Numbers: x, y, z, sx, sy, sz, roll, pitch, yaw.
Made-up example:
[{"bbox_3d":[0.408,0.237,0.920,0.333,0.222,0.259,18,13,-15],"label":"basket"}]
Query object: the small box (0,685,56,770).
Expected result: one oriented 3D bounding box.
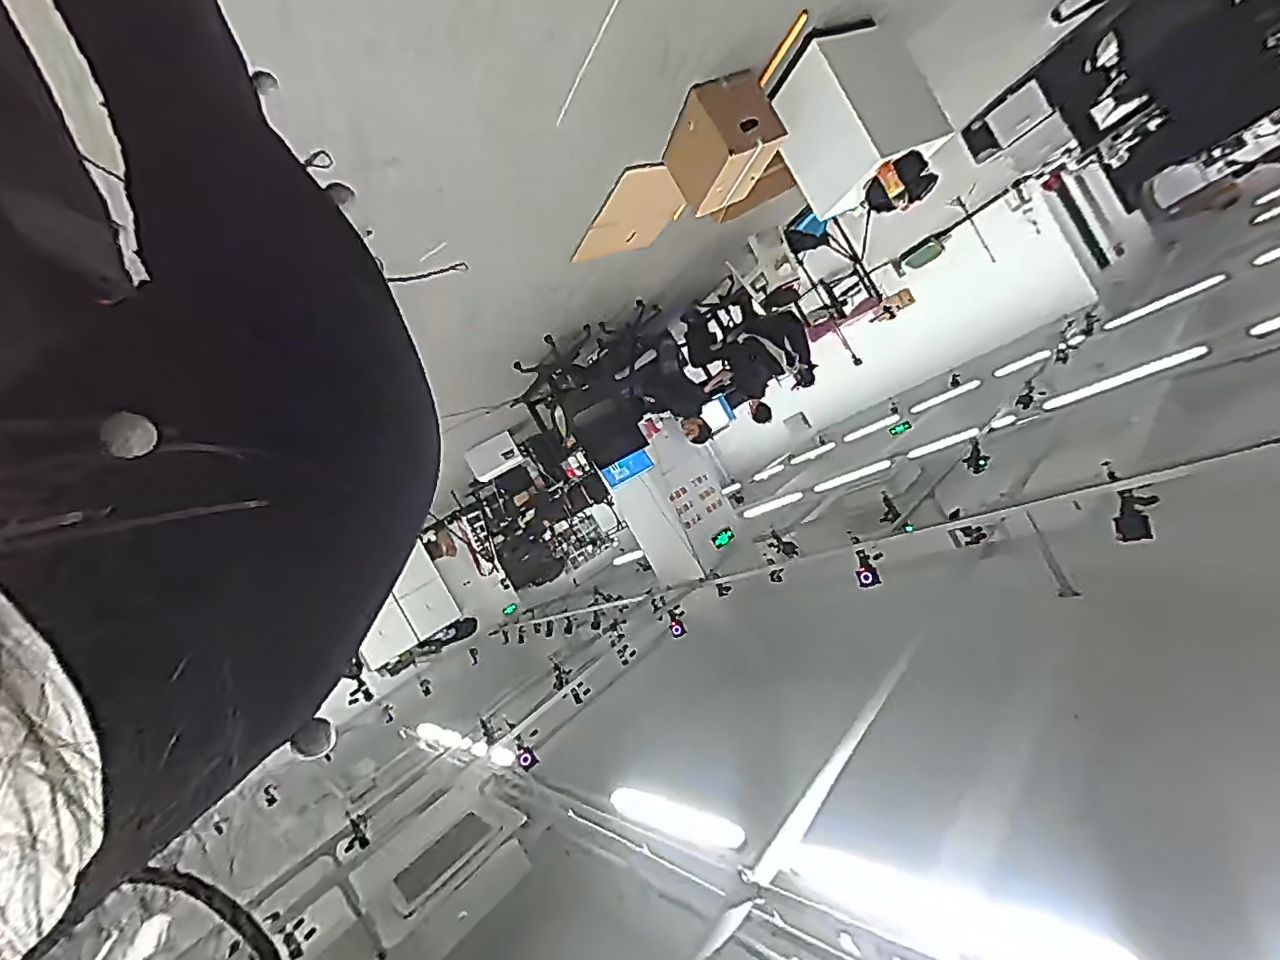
[{"bbox_3d":[-1.622,0.636,1.346,0.168,0.176,0.179,-30,179,43],"label":"small box"}]
